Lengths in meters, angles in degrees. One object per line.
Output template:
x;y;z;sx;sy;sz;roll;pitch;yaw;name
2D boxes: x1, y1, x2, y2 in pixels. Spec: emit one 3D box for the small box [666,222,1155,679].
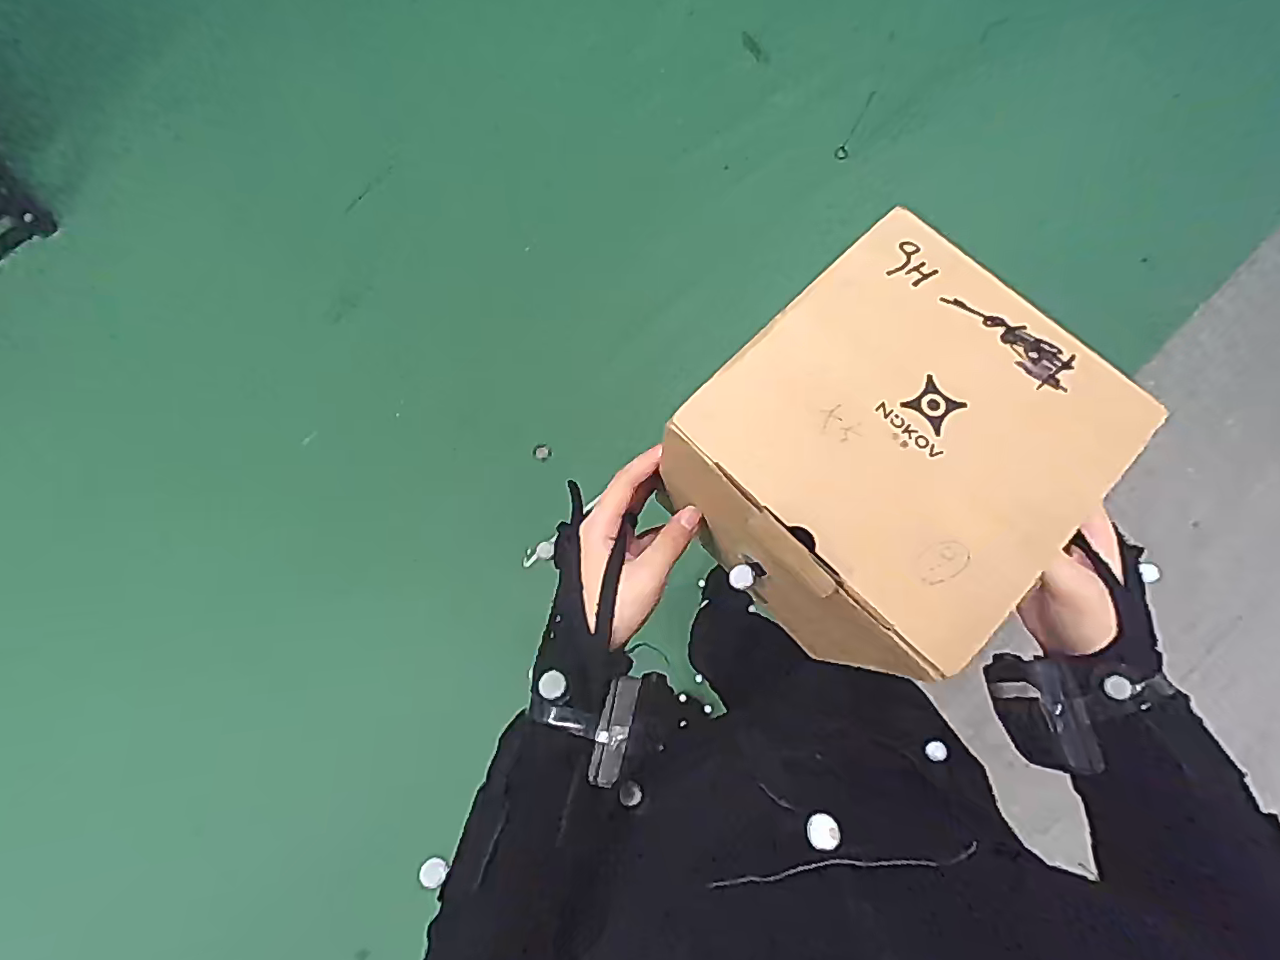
0.132;-0.006;0.338;0.179;0.176;0.168;-43;80;-10;small box
